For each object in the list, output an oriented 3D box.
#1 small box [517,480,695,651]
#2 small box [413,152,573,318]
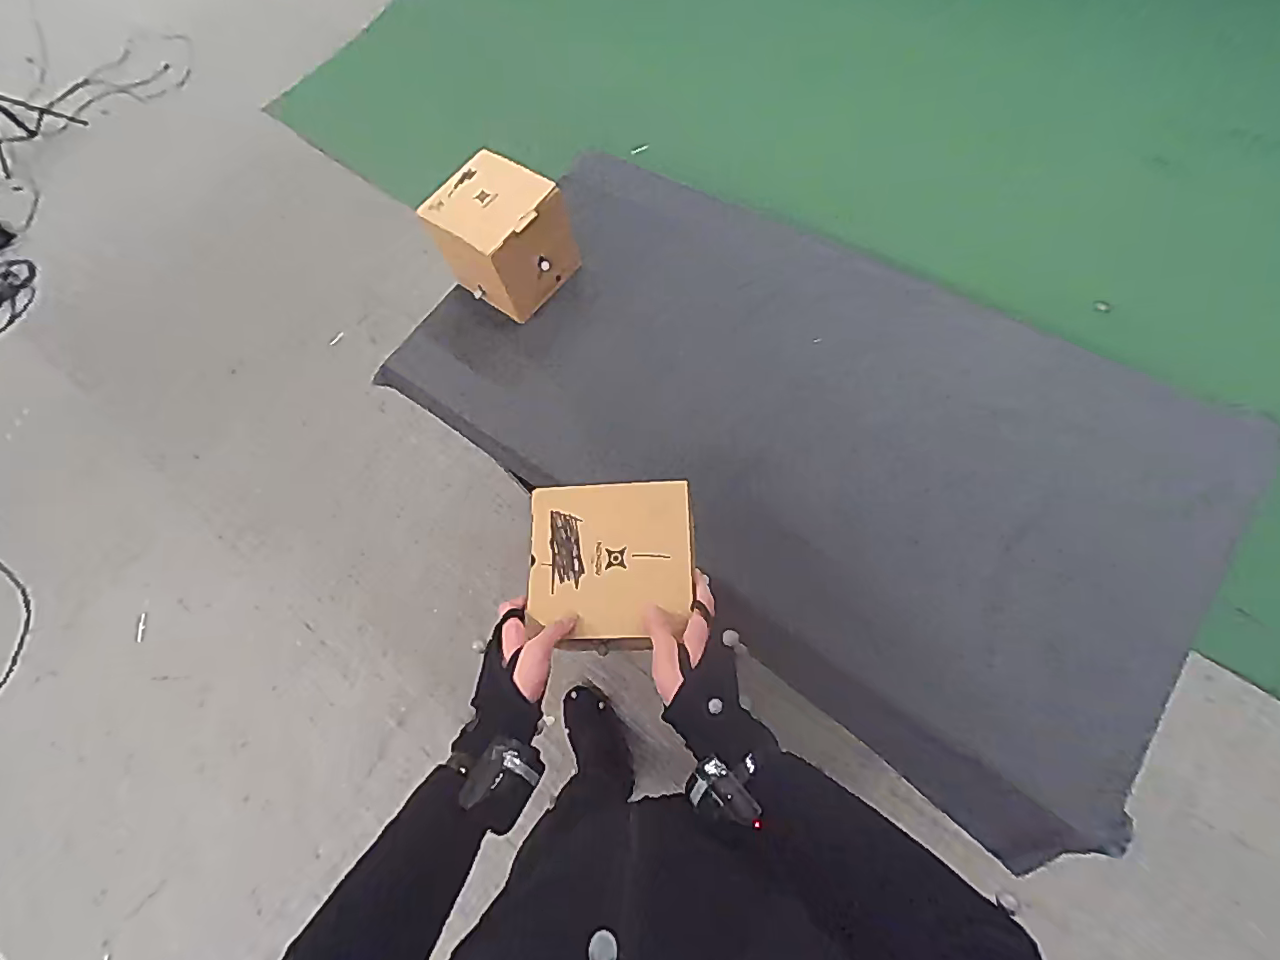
[{"bbox_3d":[-0.028,0.109,0.634,0.179,0.176,0.168,-3,69,6],"label":"small box"},{"bbox_3d":[-0.239,-0.408,0.928,0.179,0.176,0.168,35,77,18],"label":"small box"}]
